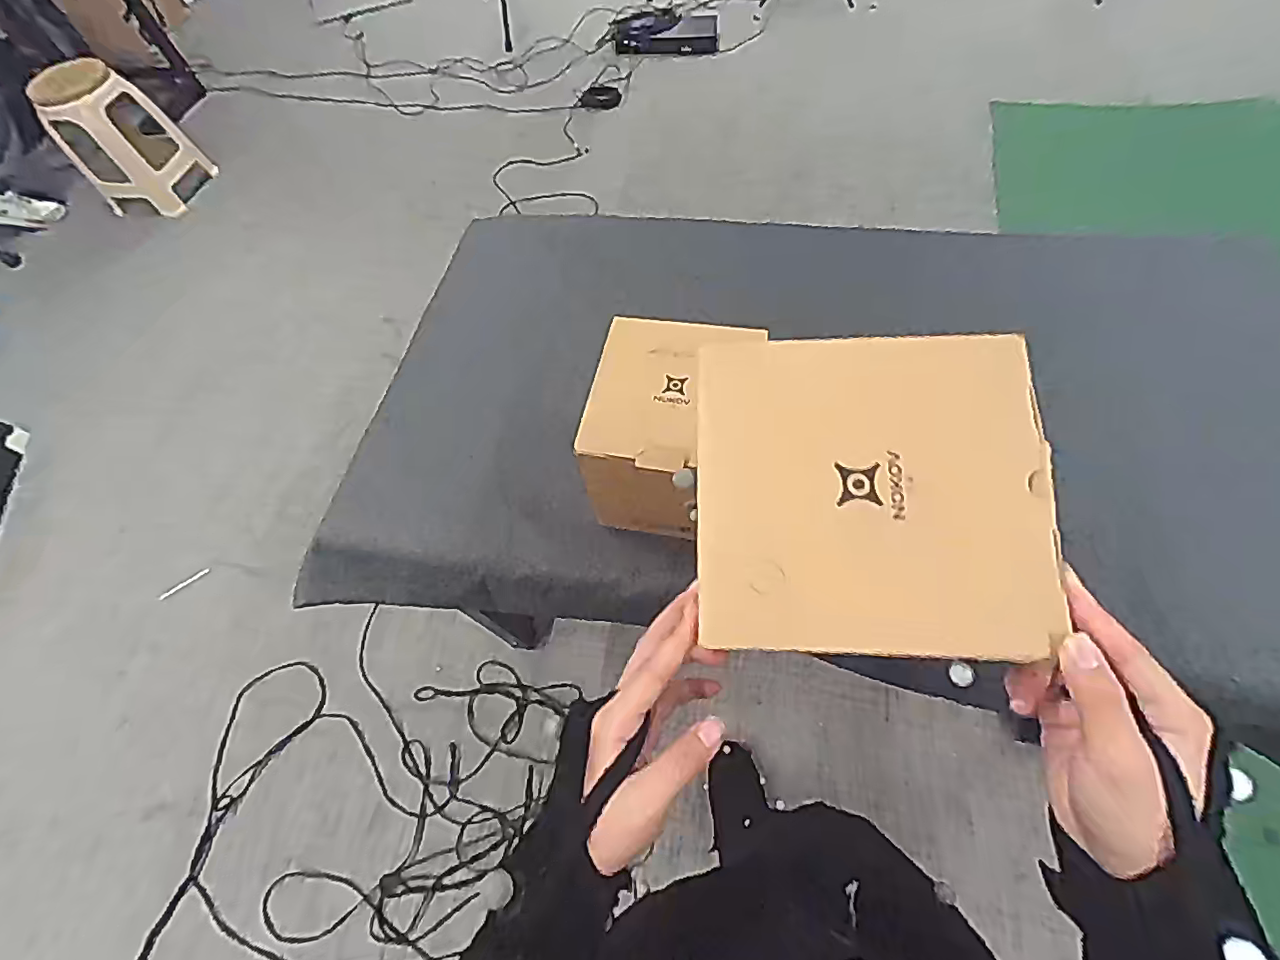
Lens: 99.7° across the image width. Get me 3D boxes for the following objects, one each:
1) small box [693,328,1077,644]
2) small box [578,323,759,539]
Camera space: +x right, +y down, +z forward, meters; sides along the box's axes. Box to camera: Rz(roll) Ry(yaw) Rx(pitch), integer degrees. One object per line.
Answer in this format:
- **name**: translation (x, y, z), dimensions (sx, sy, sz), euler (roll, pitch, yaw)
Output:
- **small box**: translation (0.125, 0.019, 0.354), dimensions (0.179, 0.176, 0.168), euler (-1, 75, 5)
- **small box**: translation (0.044, -0.044, 0.597), dimensions (0.168, 0.176, 0.179), euler (8, 61, 9)
